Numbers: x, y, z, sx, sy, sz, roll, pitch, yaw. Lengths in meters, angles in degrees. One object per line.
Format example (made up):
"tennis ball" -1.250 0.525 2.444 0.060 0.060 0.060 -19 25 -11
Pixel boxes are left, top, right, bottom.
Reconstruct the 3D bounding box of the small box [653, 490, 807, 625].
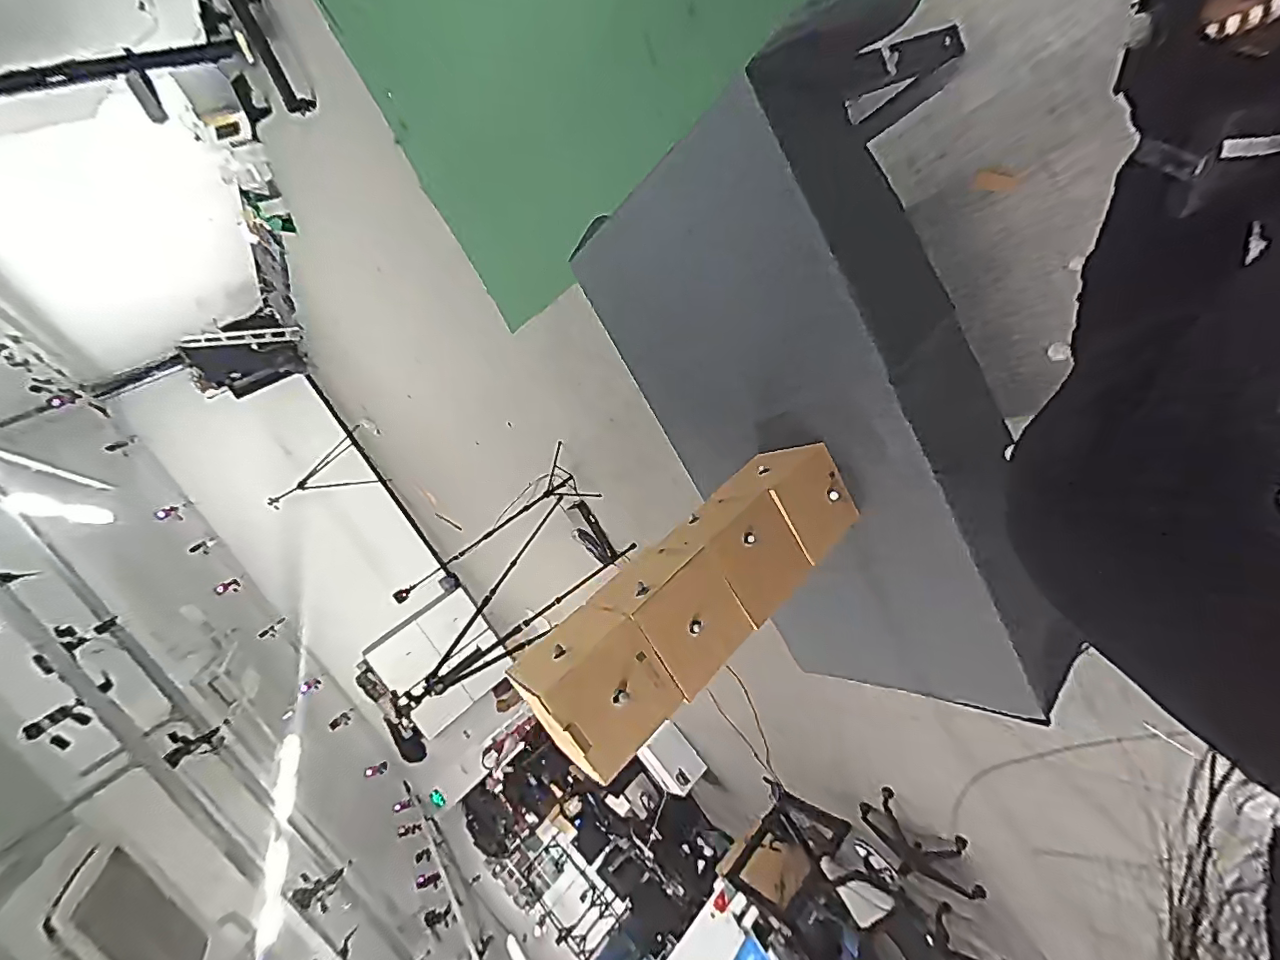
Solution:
"small box" 0.162 0.130 0.969 0.179 0.176 0.168 59 151 -10

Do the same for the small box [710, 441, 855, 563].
"small box" 0.276 0.041 1.045 0.179 0.176 0.168 -10 113 57

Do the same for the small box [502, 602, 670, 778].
"small box" -0.077 0.306 0.830 0.168 0.176 0.179 59 151 -11
